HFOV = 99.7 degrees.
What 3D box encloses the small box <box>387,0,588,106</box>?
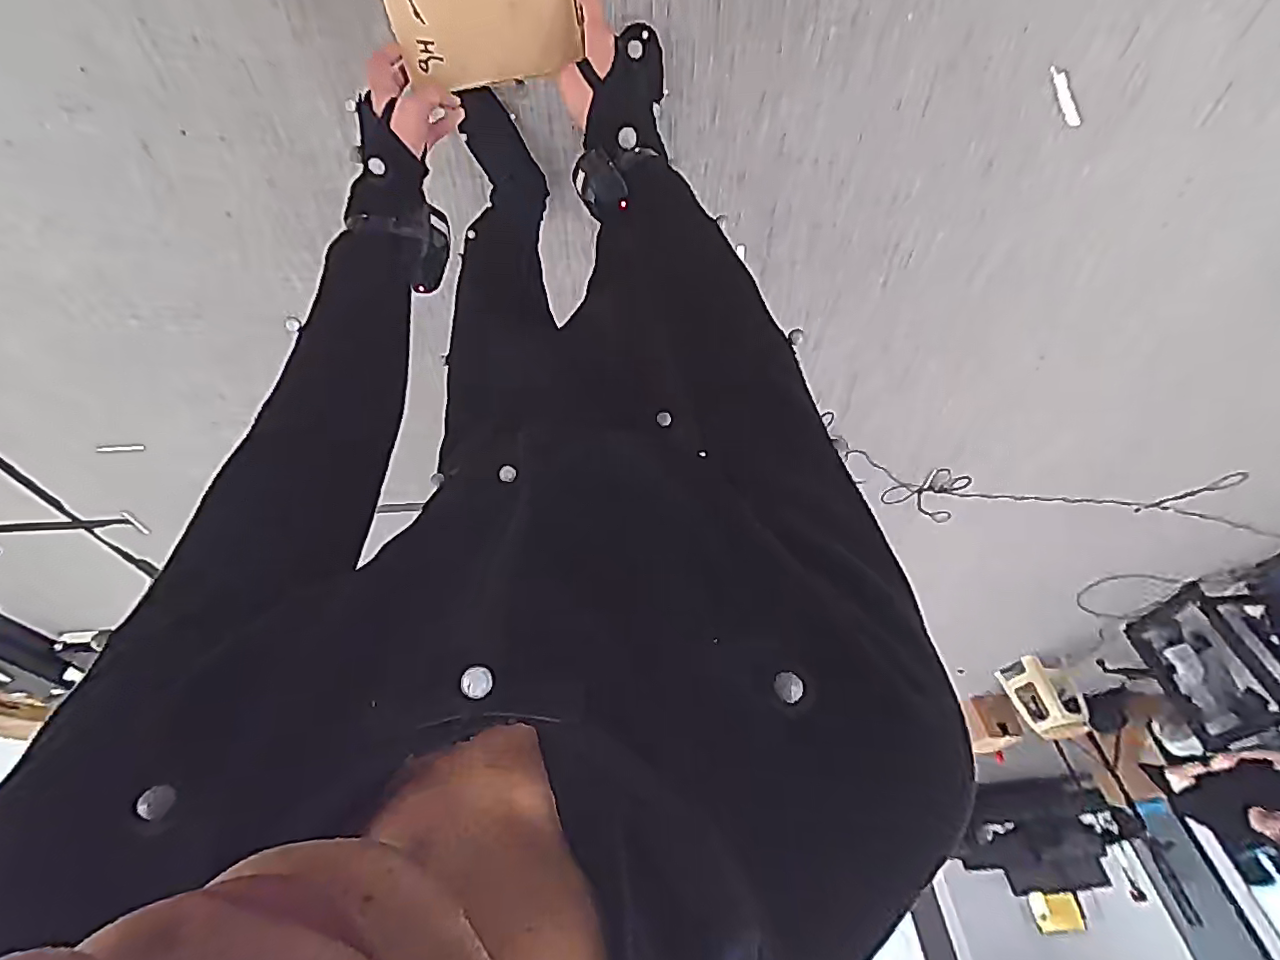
[{"bbox_3d":[-0.150,-0.501,0.557,0.179,0.176,0.168,-6,128,3],"label":"small box"}]
